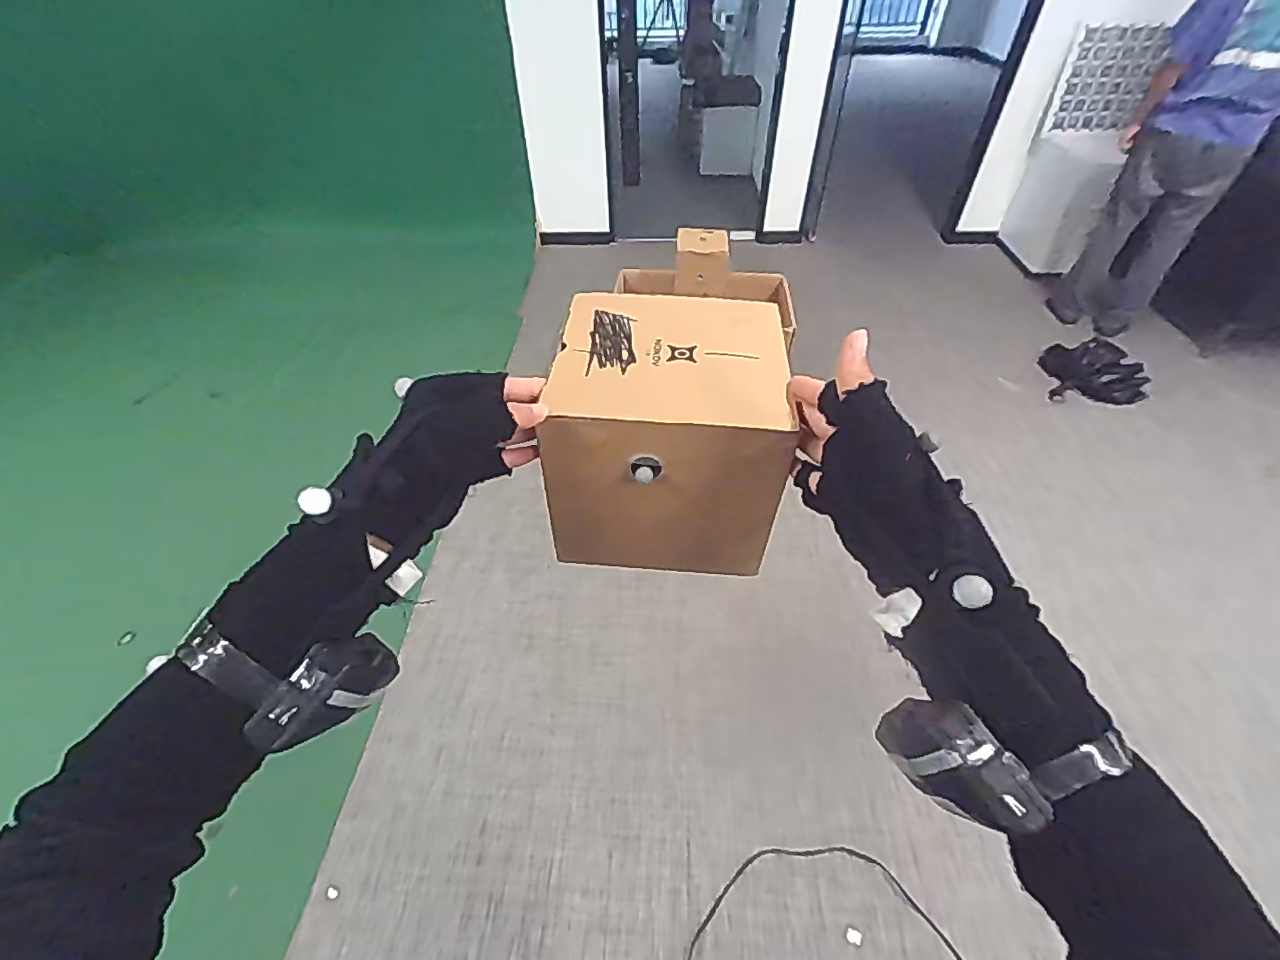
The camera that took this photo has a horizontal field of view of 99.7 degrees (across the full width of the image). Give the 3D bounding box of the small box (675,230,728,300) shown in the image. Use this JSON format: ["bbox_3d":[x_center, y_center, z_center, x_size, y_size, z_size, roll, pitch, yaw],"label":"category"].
[{"bbox_3d":[0.206,-0.721,1.818,0.168,0.176,0.179,4,47,2],"label":"small box"}]

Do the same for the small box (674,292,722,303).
[{"bbox_3d":[0.202,-0.600,1.929,0.168,0.176,0.179,4,44,2],"label":"small box"}]

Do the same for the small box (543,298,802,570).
[{"bbox_3d":[0.027,-0.038,0.467,0.179,0.176,0.168,4,47,3],"label":"small box"}]
